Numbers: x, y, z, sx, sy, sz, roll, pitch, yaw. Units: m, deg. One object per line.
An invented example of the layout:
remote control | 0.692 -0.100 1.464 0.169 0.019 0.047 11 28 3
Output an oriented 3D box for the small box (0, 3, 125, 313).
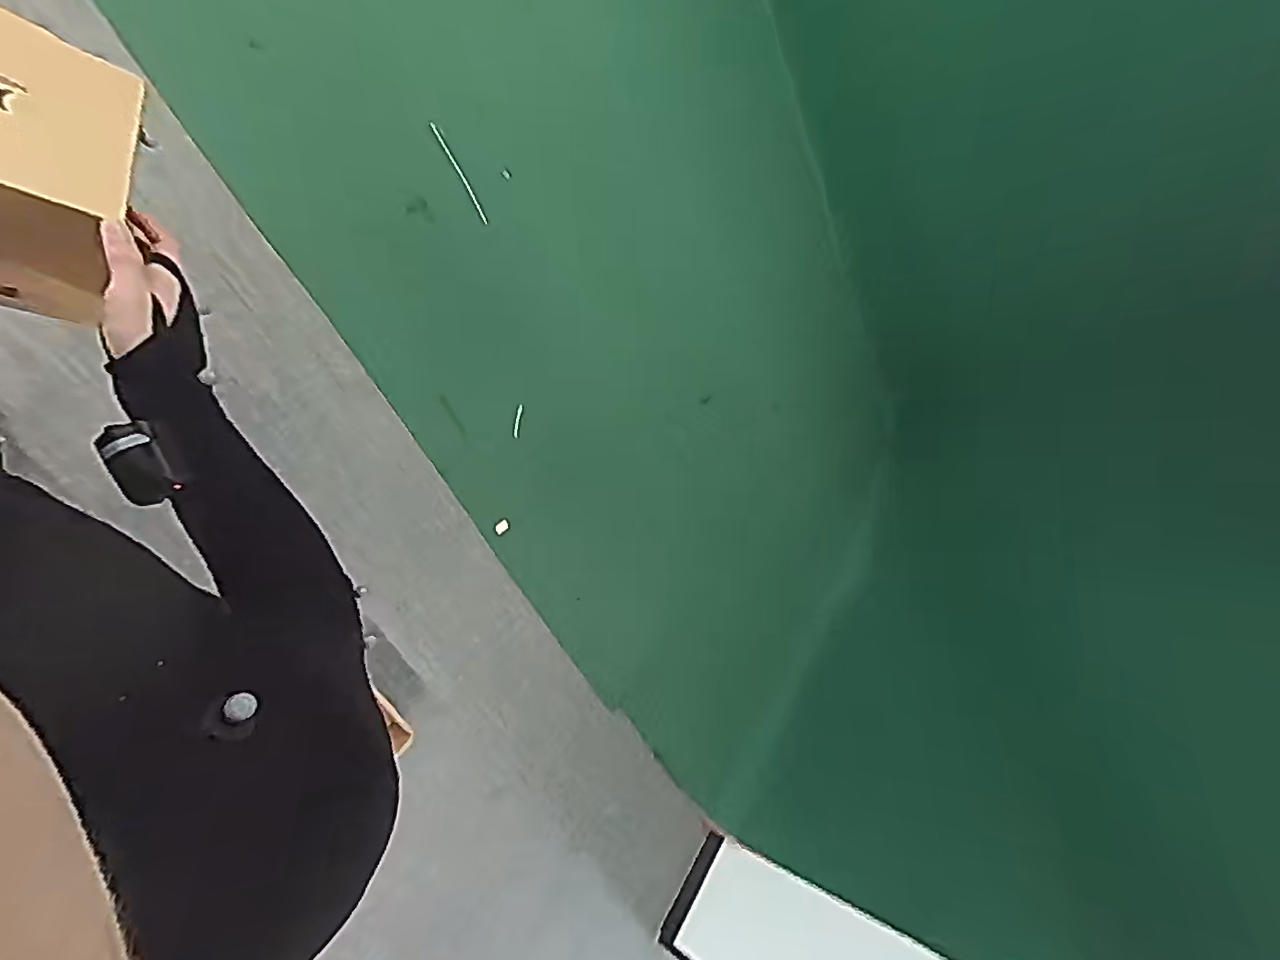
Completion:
small box | -0.554 -0.270 0.446 0.168 0.176 0.179 8 63 -47
